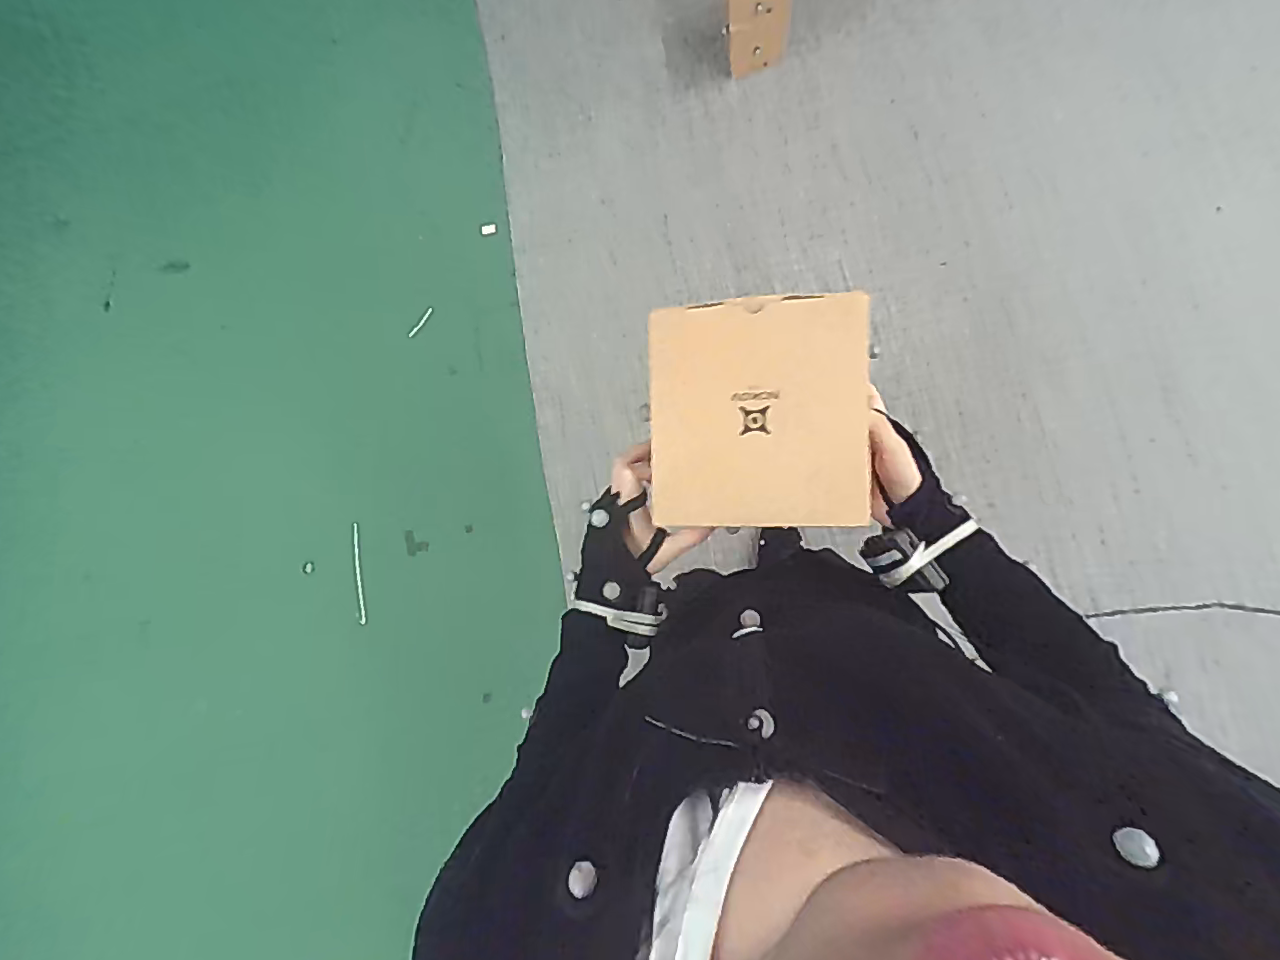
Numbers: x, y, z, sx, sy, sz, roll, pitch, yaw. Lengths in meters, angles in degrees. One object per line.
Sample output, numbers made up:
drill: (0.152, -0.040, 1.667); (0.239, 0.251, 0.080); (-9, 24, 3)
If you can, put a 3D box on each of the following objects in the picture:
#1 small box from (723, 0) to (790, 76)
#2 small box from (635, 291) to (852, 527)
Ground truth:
small box: (0.339, -1.331, 1.582); (0.168, 0.176, 0.179); (-10, 82, 9)
small box: (0.097, -0.054, 0.498); (0.168, 0.176, 0.179); (-3, 91, 13)
